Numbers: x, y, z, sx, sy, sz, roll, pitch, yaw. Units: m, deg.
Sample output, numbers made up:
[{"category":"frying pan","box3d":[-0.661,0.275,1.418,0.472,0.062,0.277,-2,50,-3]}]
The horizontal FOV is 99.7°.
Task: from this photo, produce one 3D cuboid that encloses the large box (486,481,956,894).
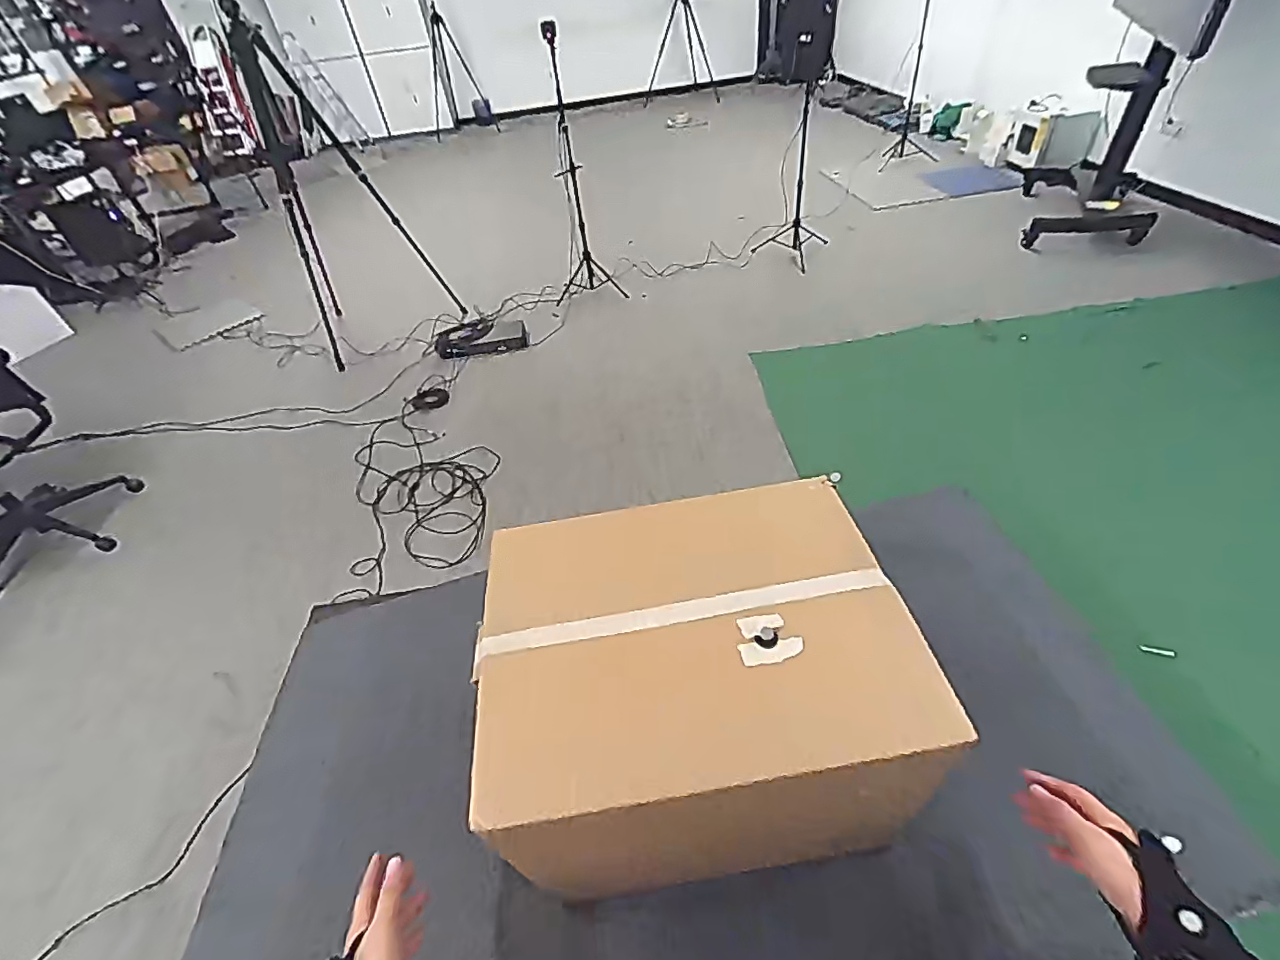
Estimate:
[{"category":"large box","box3d":[0.061,0.243,0.647,0.408,0.320,0.320,-9,44,-2]}]
